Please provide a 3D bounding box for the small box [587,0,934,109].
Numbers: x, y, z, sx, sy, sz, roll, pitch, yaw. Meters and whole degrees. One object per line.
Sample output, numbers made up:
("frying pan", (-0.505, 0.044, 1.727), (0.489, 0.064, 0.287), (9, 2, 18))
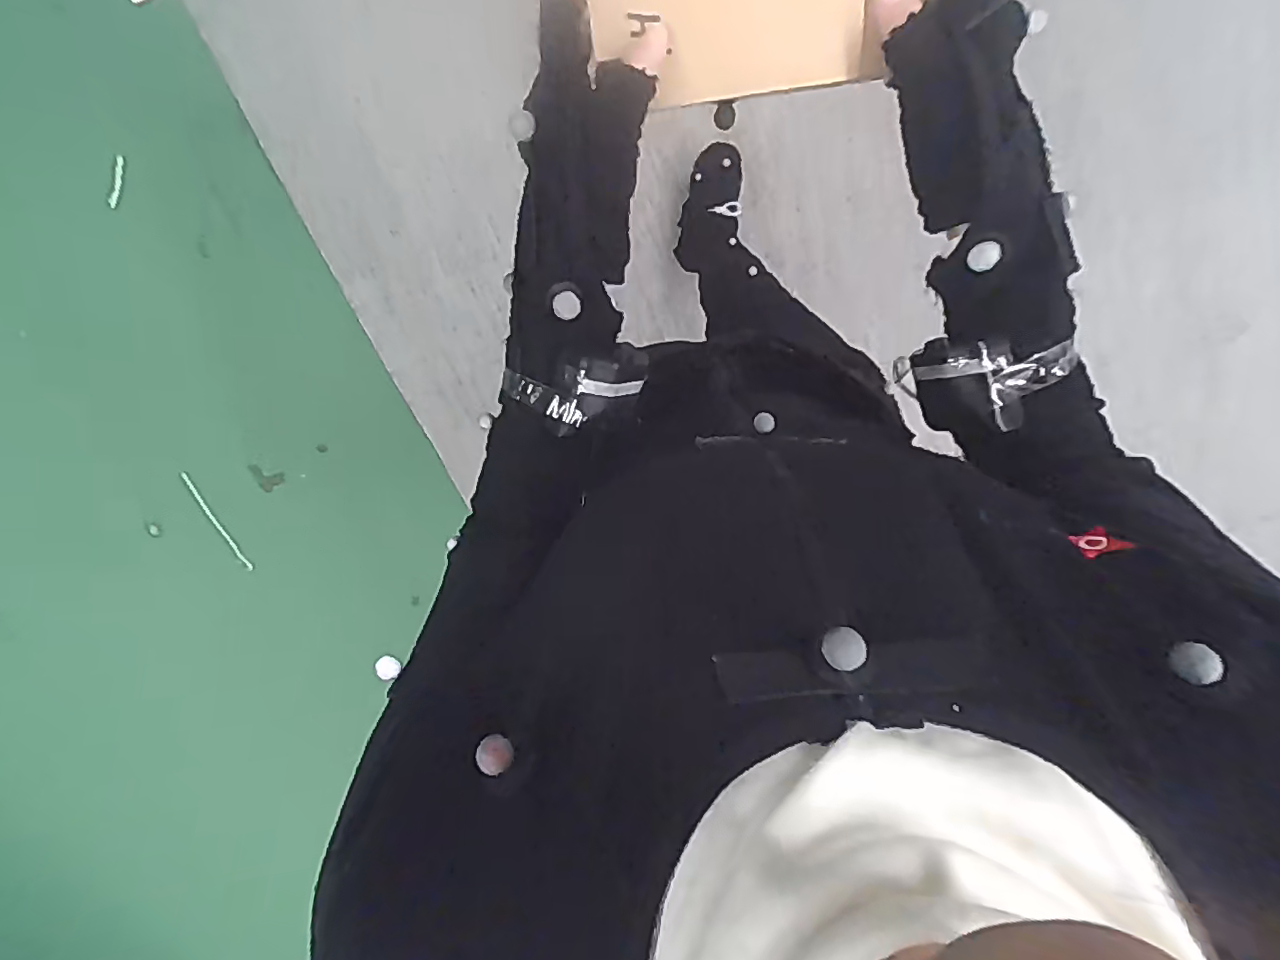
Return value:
("small box", (0.053, -0.324, 0.312), (0.179, 0.176, 0.168), (-7, 122, 1))
